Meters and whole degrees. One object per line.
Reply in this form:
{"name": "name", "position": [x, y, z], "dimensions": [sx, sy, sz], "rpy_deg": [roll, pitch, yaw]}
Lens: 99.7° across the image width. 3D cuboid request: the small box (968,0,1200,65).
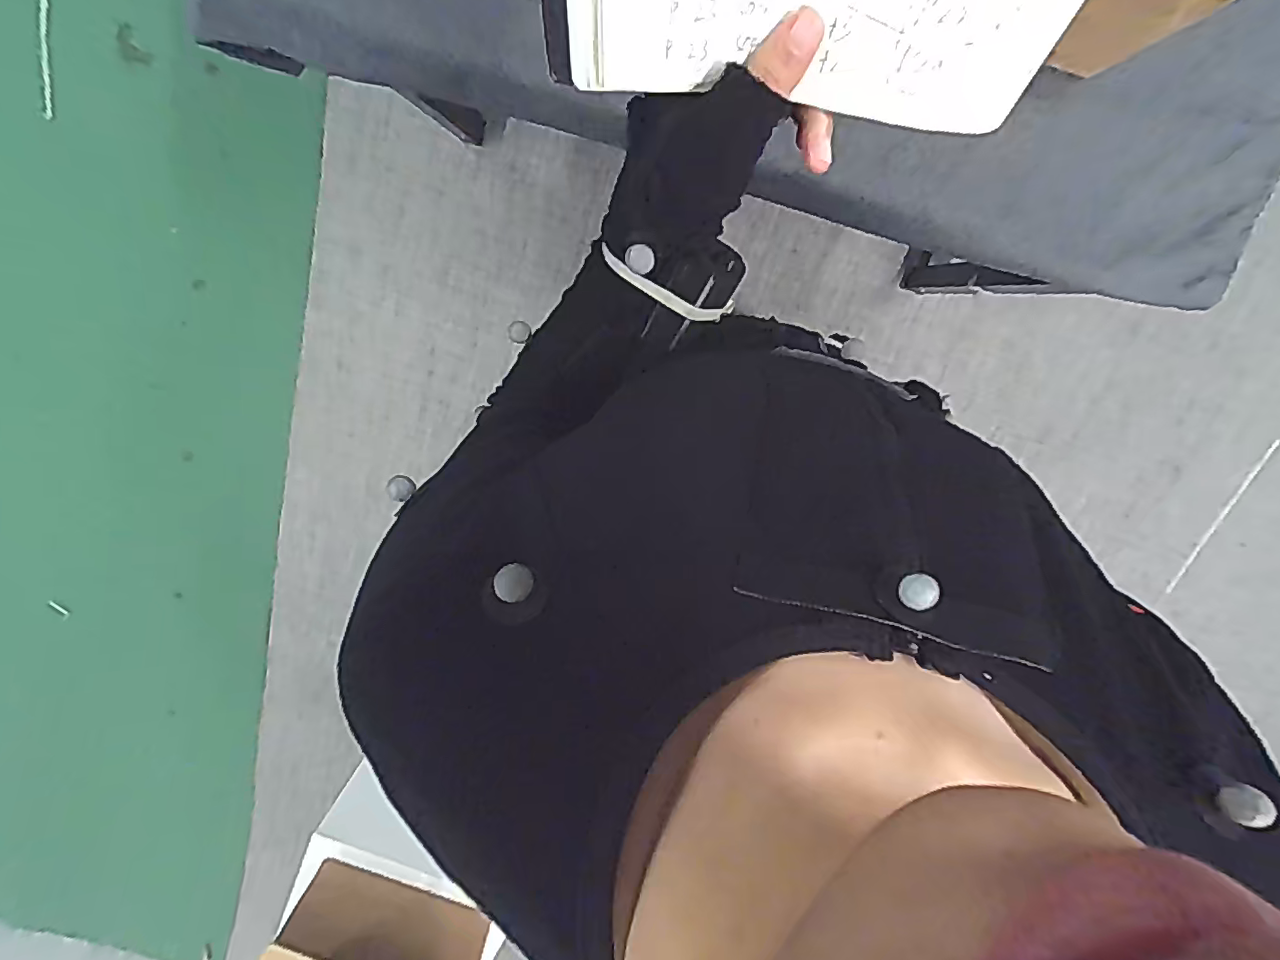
{"name": "small box", "position": [0.425, -0.509, 0.469], "dimensions": [0.168, 0.176, 0.179], "rpy_deg": [16, 108, -3]}
